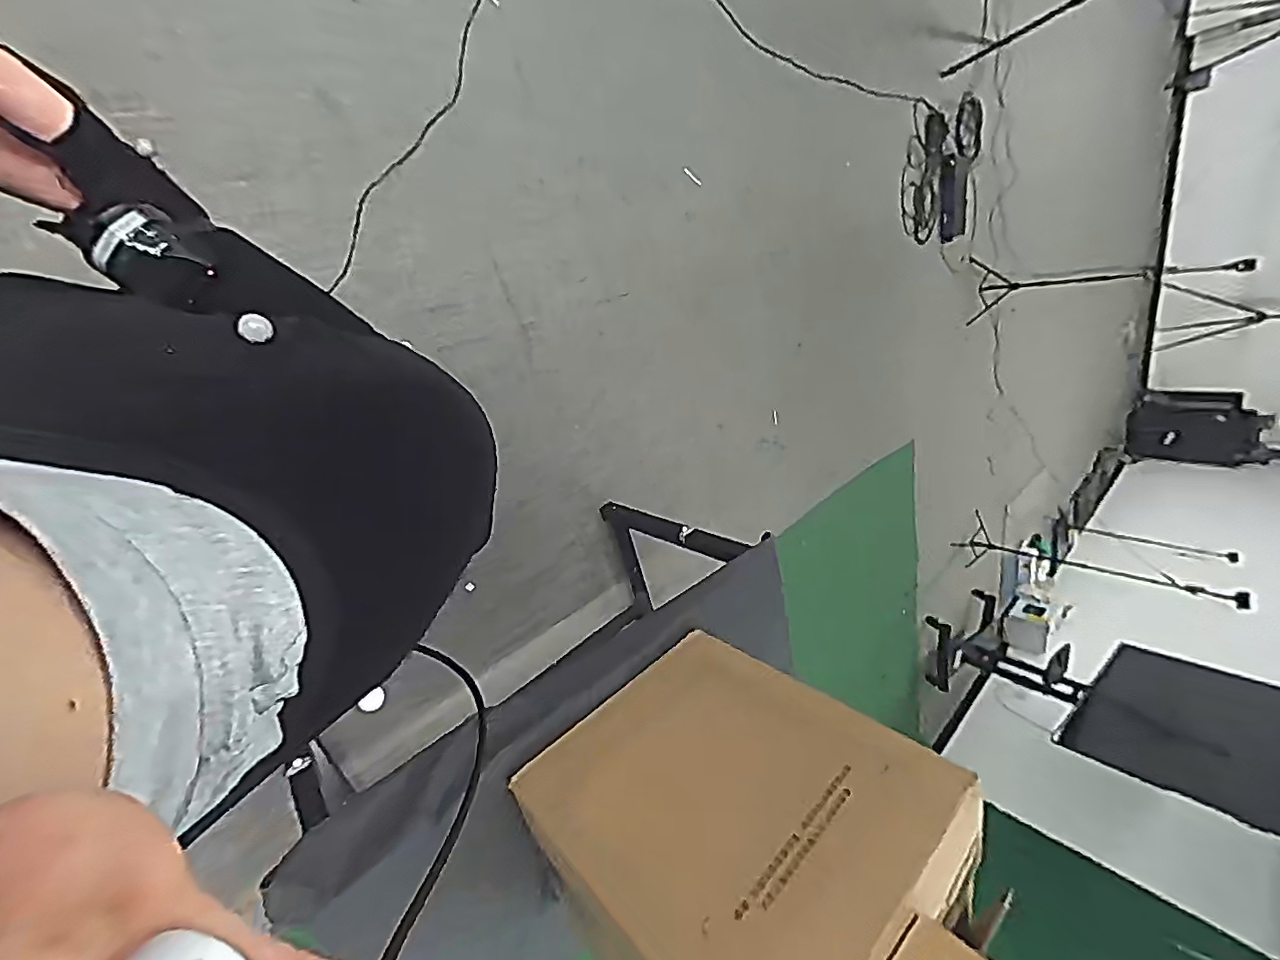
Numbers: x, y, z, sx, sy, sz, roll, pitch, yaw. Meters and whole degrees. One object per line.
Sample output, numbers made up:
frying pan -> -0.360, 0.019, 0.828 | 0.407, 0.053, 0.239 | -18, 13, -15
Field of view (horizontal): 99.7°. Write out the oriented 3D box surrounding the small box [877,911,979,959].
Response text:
small box -> 0.370, 0.694, 0.659 | 0.179, 0.176, 0.168 | -22, 113, -36
